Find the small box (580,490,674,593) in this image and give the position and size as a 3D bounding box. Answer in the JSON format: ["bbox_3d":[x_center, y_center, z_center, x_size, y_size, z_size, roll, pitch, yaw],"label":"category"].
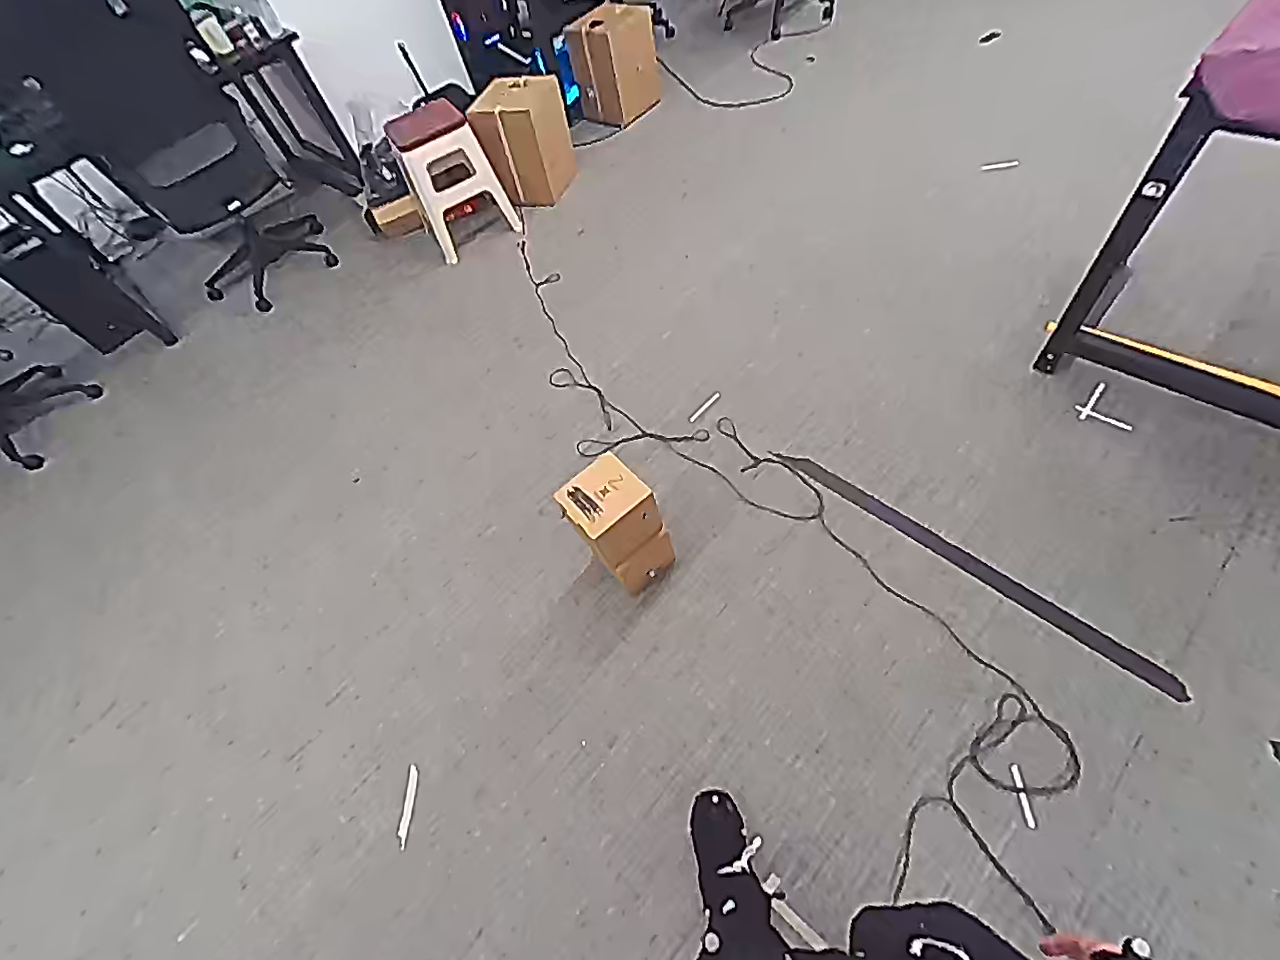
[{"bbox_3d":[-0.030,0.167,1.425,0.168,0.176,0.179,-39,59,-13],"label":"small box"}]
